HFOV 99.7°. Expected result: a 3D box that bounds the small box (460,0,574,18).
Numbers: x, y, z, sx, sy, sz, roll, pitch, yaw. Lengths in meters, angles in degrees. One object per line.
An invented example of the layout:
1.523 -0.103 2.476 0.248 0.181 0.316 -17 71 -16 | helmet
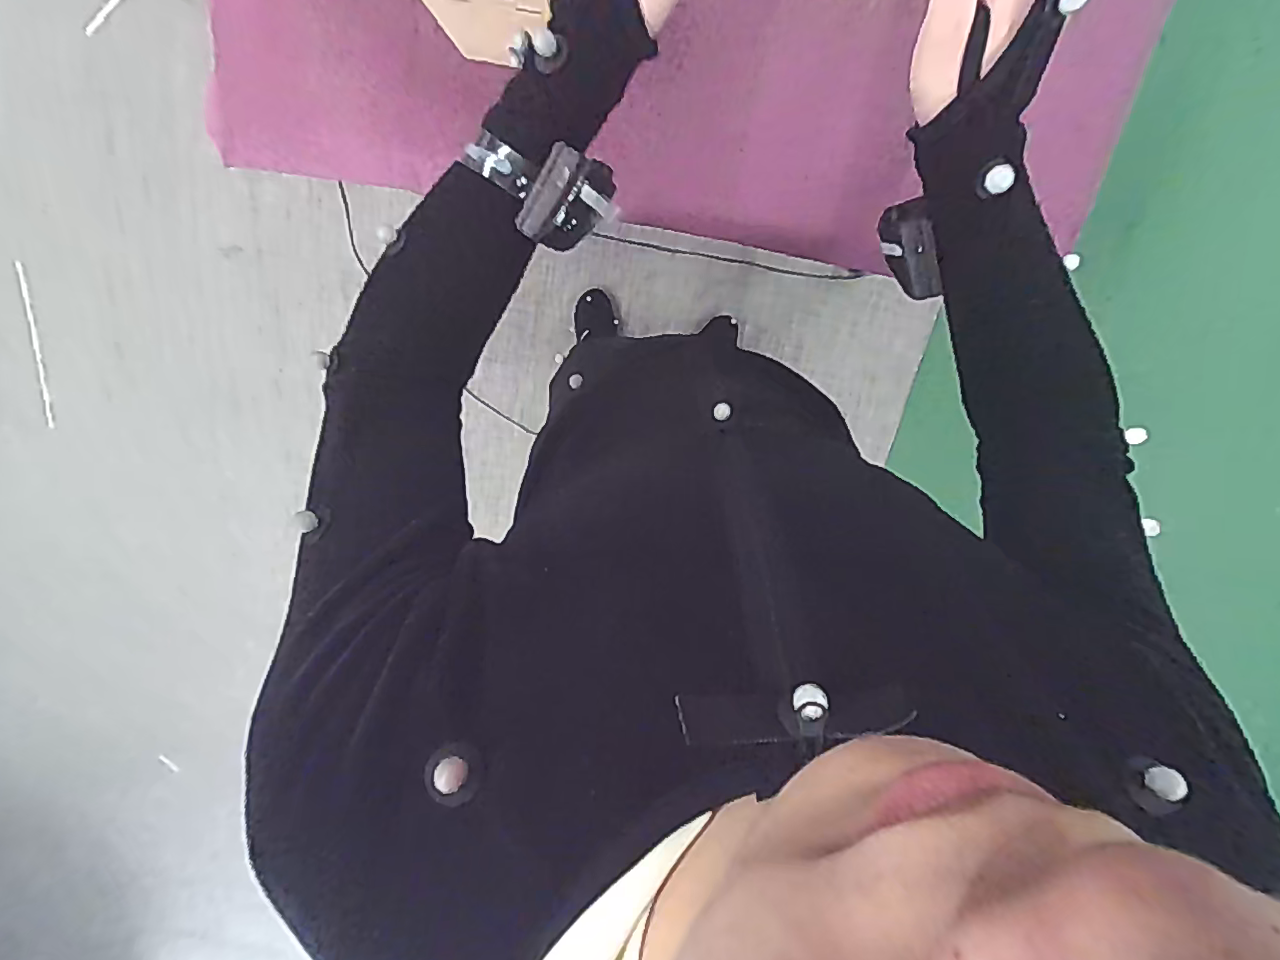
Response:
-0.138 -0.549 0.459 0.168 0.176 0.179 8 108 -1 | small box

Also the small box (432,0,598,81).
-0.137 -0.599 0.615 0.168 0.176 0.179 8 109 -2 | small box
